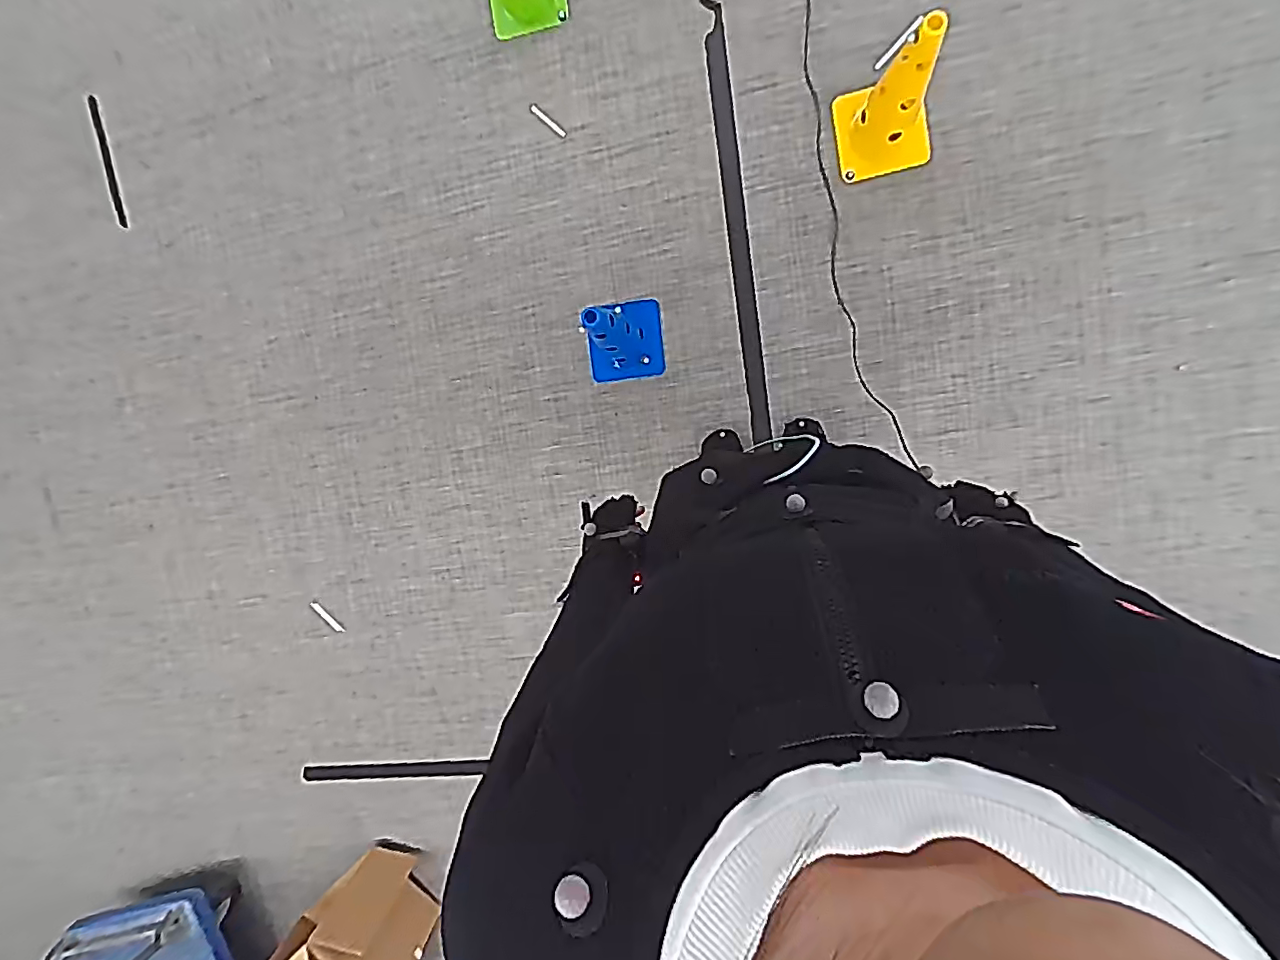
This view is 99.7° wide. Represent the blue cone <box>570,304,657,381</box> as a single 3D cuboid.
[{"bbox_3d":[-0.082,-0.349,1.277,0.192,0.380,0.193,-3,96,11],"label":"blue cone"}]

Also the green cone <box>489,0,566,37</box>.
[{"bbox_3d":[-0.325,-1.232,1.202,0.202,0.368,0.200,-7,95,12],"label":"green cone"}]
